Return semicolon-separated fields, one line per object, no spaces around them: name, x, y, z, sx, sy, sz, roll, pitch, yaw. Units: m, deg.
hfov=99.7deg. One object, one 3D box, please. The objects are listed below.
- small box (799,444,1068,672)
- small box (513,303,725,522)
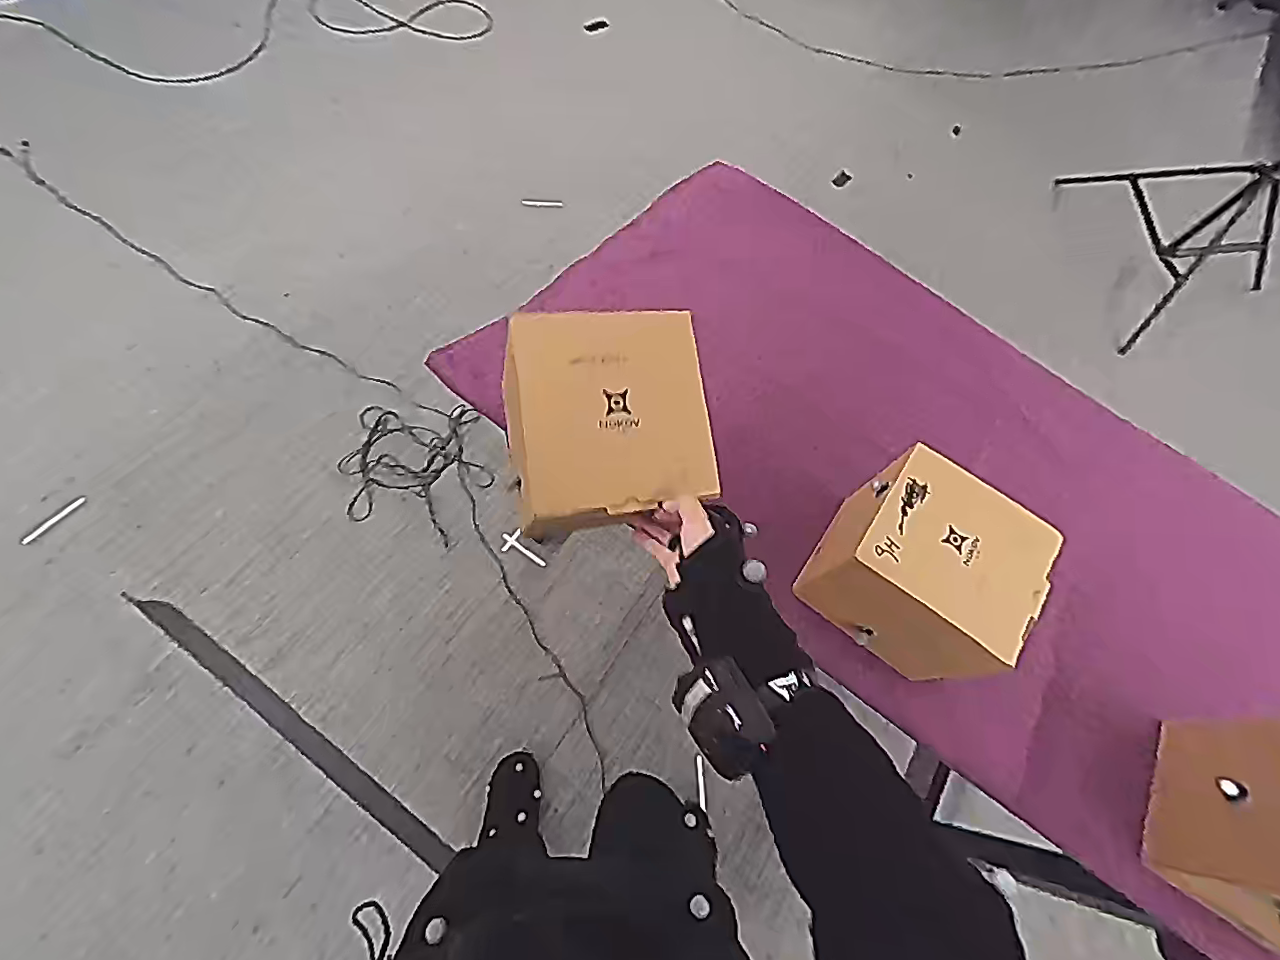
small box;0.317;0.097;0.612;0.179;0.176;0.168;36;67;8
small box;-0.034;-0.053;0.536;0.168;0.176;0.179;-4;80;-17
